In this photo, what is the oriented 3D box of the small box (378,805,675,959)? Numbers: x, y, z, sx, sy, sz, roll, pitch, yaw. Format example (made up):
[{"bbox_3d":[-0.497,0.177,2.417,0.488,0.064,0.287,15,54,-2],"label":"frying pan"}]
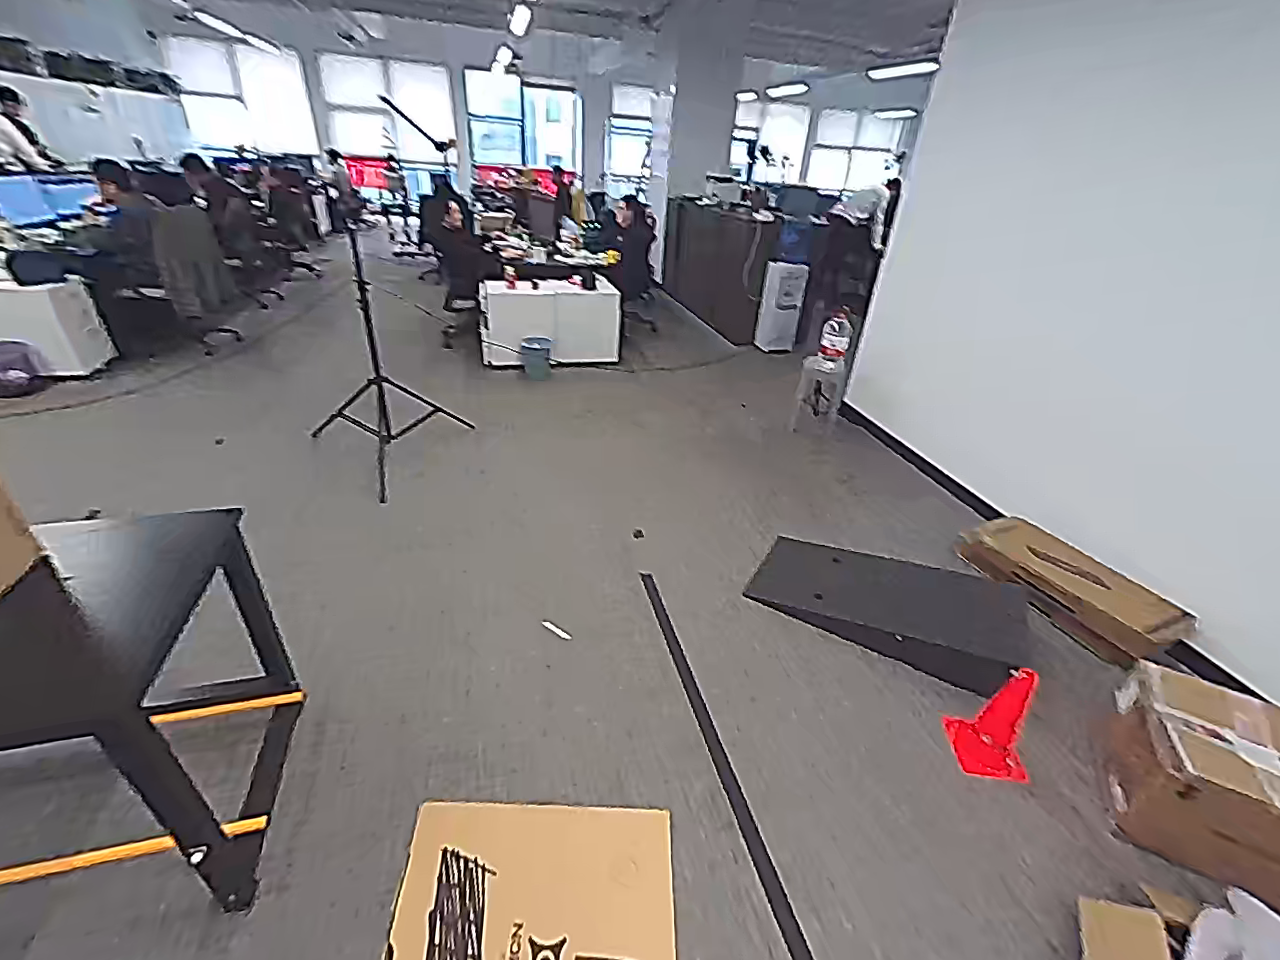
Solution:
[{"bbox_3d":[-0.074,0.343,0.367,0.179,0.176,0.168,5,41,-5],"label":"small box"}]
